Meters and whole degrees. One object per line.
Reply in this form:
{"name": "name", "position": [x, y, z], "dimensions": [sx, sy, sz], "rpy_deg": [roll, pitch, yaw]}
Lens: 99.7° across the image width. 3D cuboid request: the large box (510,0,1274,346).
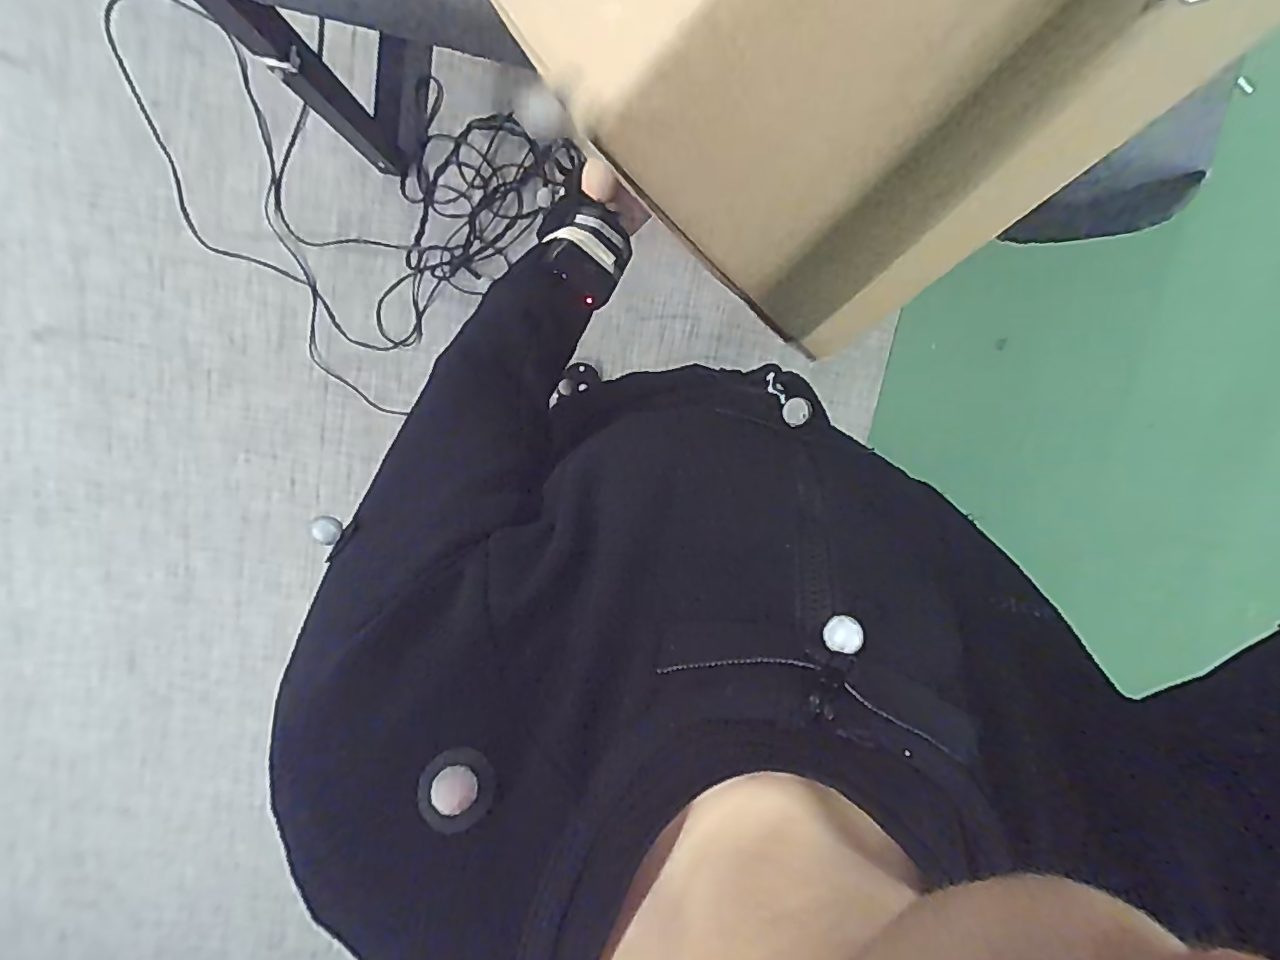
{"name": "large box", "position": [0.144, -0.338, 0.267], "dimensions": [0.408, 0.320, 0.320], "rpy_deg": [-40, 70, 25]}
